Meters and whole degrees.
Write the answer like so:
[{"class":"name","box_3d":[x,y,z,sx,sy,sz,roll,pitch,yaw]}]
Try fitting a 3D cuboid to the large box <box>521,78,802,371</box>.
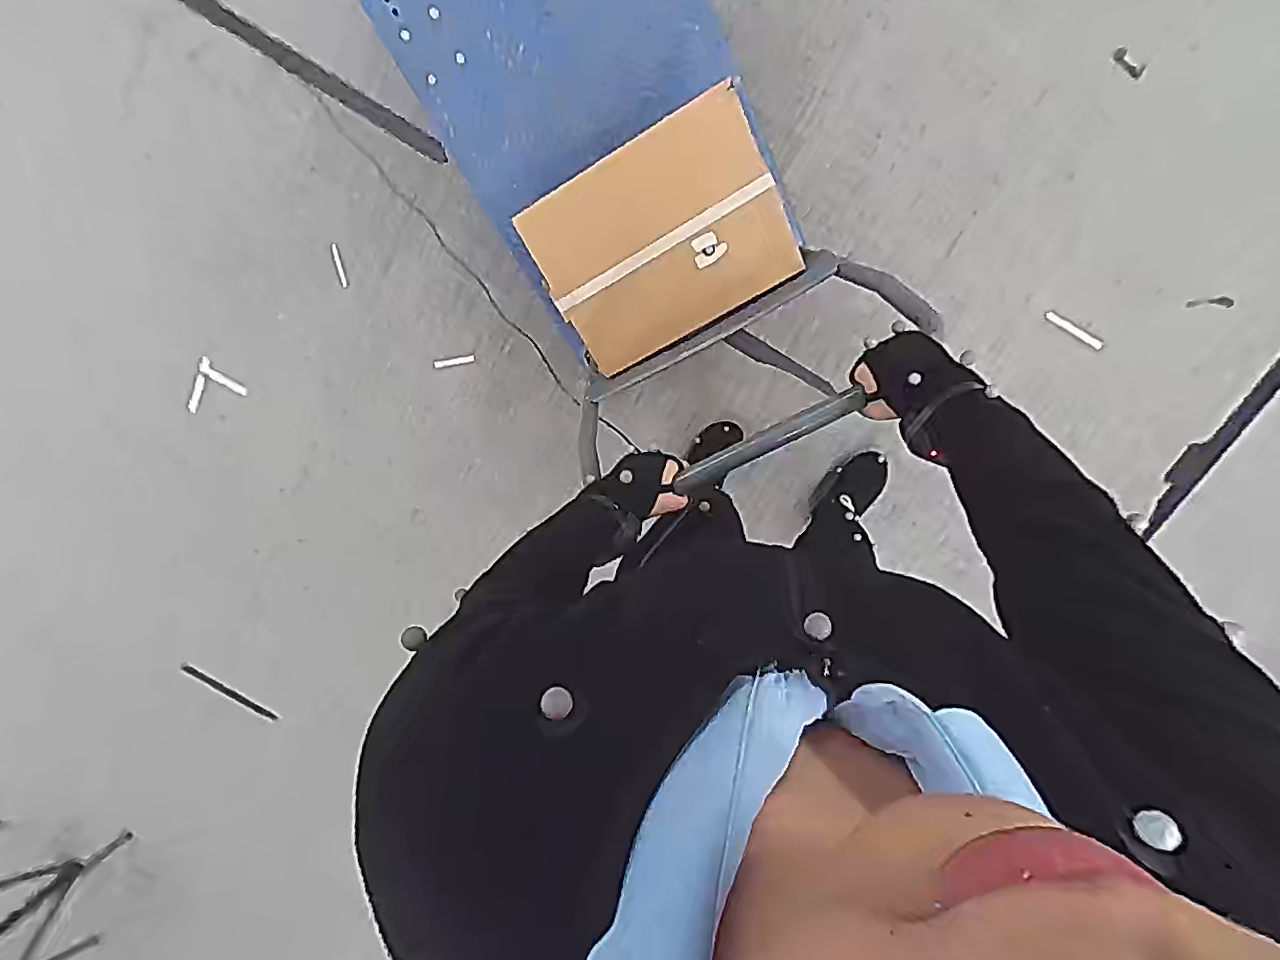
[{"class":"large box","box_3d":[0.036,-0.475,1.065,0.408,0.320,0.320,-28,113,11]}]
